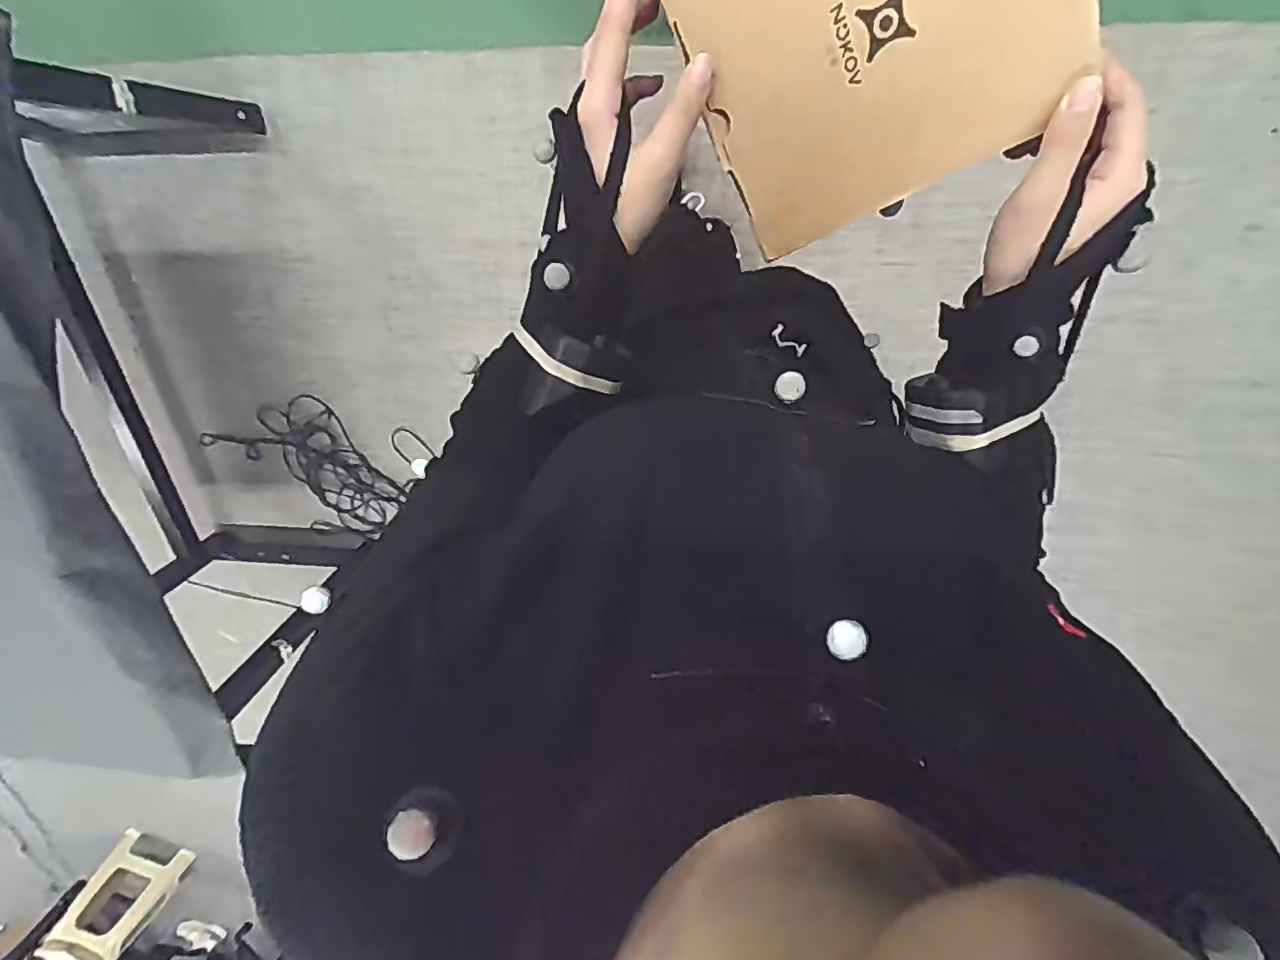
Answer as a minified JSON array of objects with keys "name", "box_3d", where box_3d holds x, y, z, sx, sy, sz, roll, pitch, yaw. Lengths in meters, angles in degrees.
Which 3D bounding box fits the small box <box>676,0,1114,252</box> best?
[{"name":"small box","box_3d":[0.131,-0.274,0.318,0.179,0.176,0.168,-18,124,26]}]
